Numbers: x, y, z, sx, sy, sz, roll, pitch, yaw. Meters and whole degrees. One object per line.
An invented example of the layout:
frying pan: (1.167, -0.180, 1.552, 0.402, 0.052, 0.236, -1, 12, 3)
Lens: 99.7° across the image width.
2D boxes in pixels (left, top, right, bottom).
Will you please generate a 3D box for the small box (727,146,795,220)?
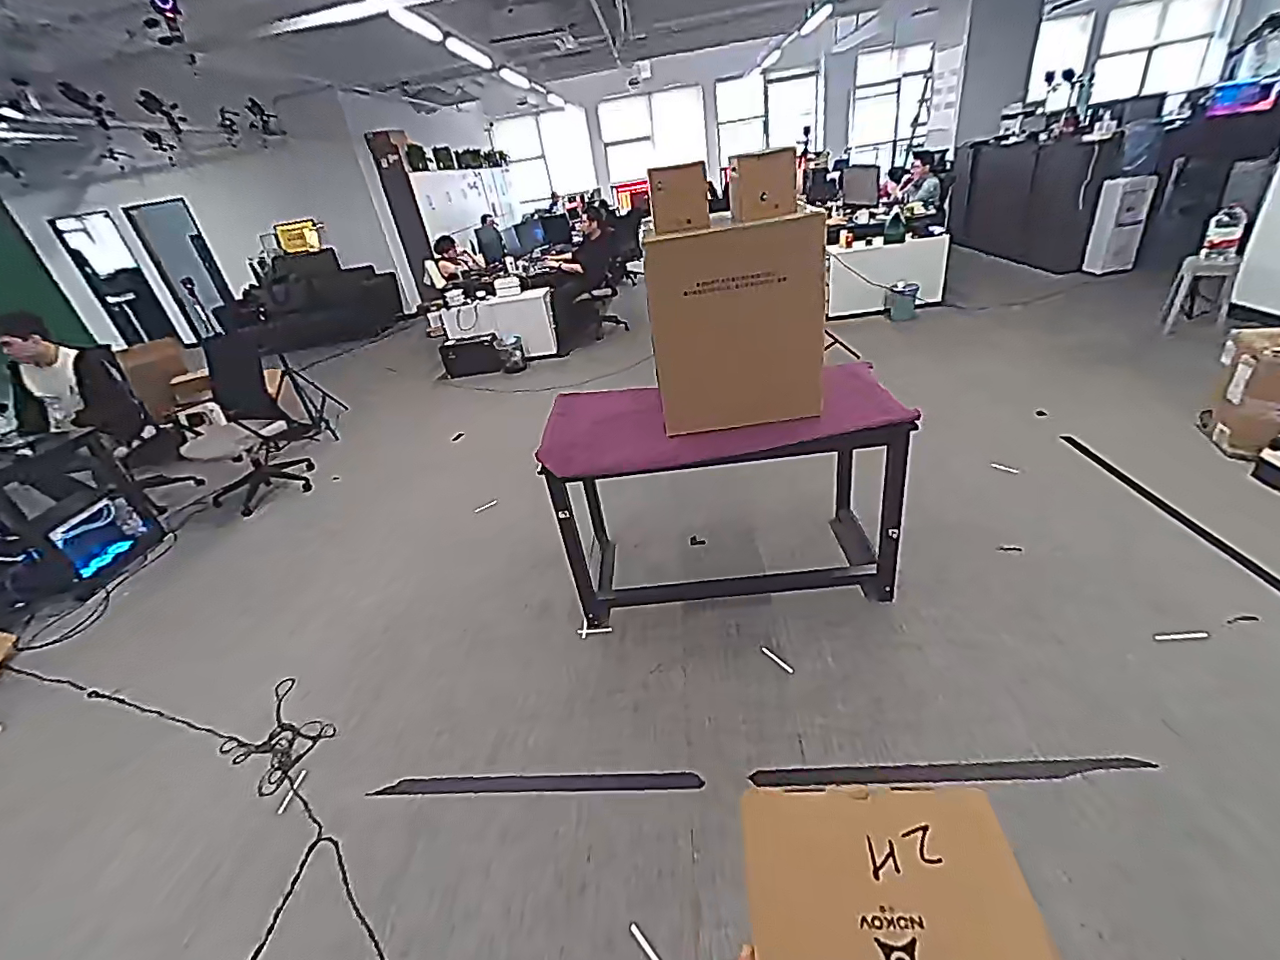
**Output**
small box: (0.355, -0.877, 1.602, 0.168, 0.176, 0.179, -9, 31, 3)

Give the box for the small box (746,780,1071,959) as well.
small box: (0.162, 0.324, 0.350, 0.168, 0.176, 0.179, -4, 34, 7)
